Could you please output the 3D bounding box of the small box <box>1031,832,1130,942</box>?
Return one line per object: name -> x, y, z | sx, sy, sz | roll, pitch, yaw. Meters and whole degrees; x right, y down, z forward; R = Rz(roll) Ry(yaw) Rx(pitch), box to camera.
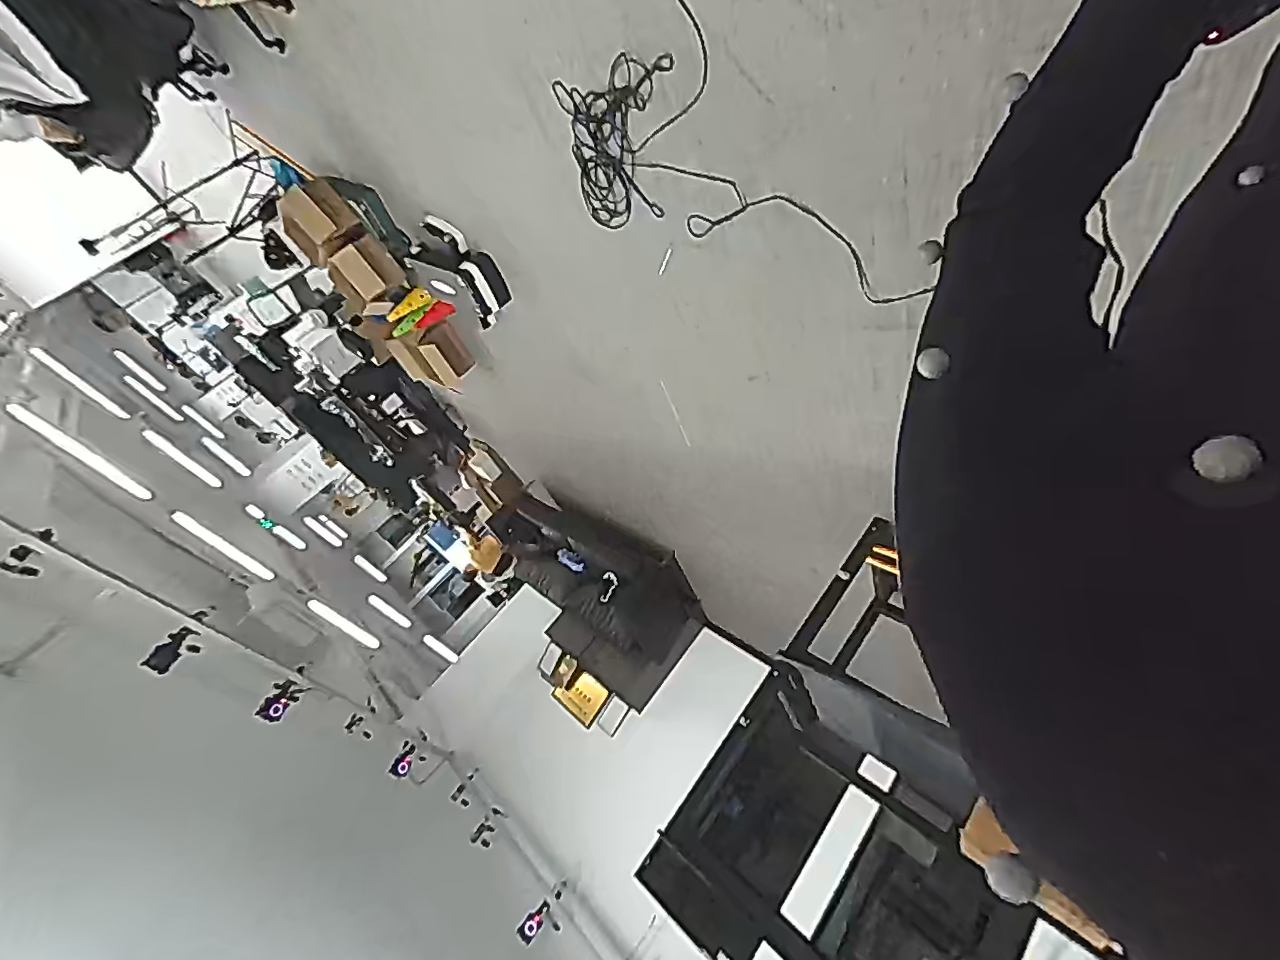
small box -> 1.215, 1.123, 1.496 | 0.168, 0.176, 0.179 | 22, 152, 43
